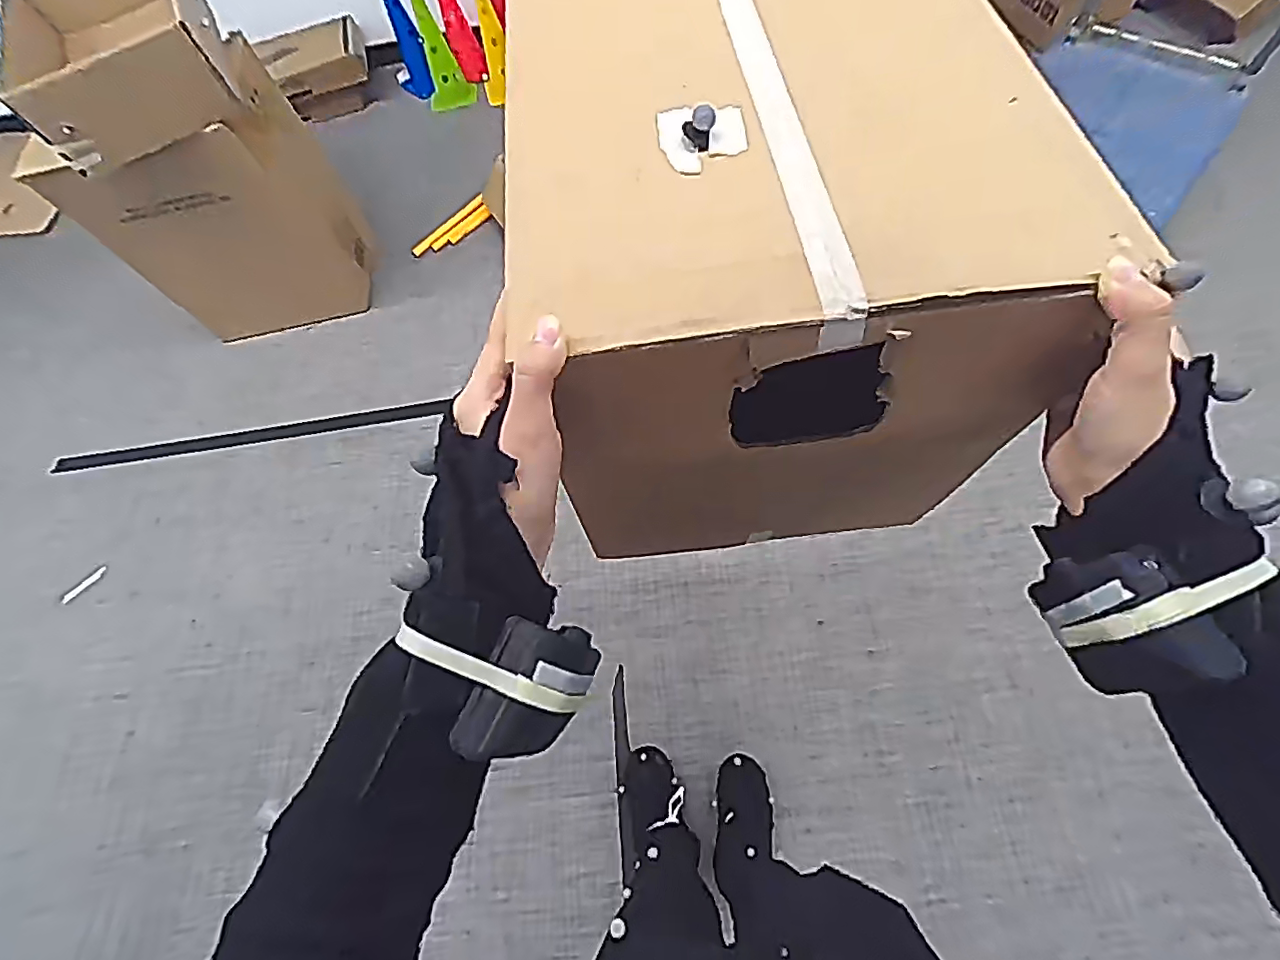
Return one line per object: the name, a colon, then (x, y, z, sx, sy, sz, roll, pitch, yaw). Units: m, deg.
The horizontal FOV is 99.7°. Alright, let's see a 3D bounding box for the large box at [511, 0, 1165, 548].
large box: (0.084, -0.191, 0.475, 0.320, 0.320, 0.408, -8, 65, 1)
